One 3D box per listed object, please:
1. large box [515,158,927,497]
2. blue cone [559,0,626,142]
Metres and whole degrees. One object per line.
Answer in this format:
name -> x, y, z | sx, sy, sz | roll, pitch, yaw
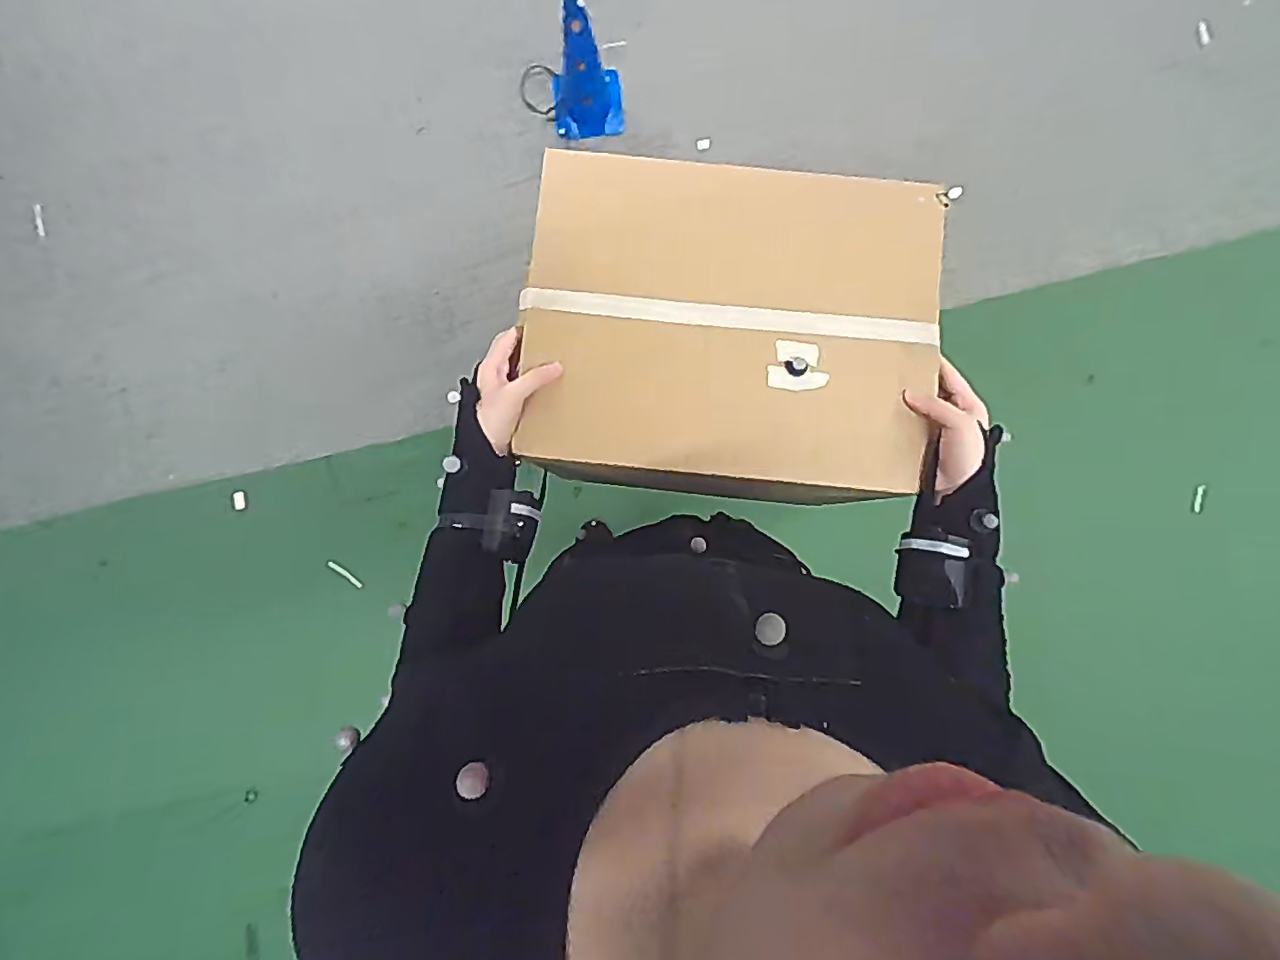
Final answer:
large box -> 0.082, -0.151, 0.685 | 0.408, 0.320, 0.320 | 5, 86, 0
blue cone -> -0.145, -1.100, 1.426 | 0.193, 0.380, 0.192 | -4, 87, 1
